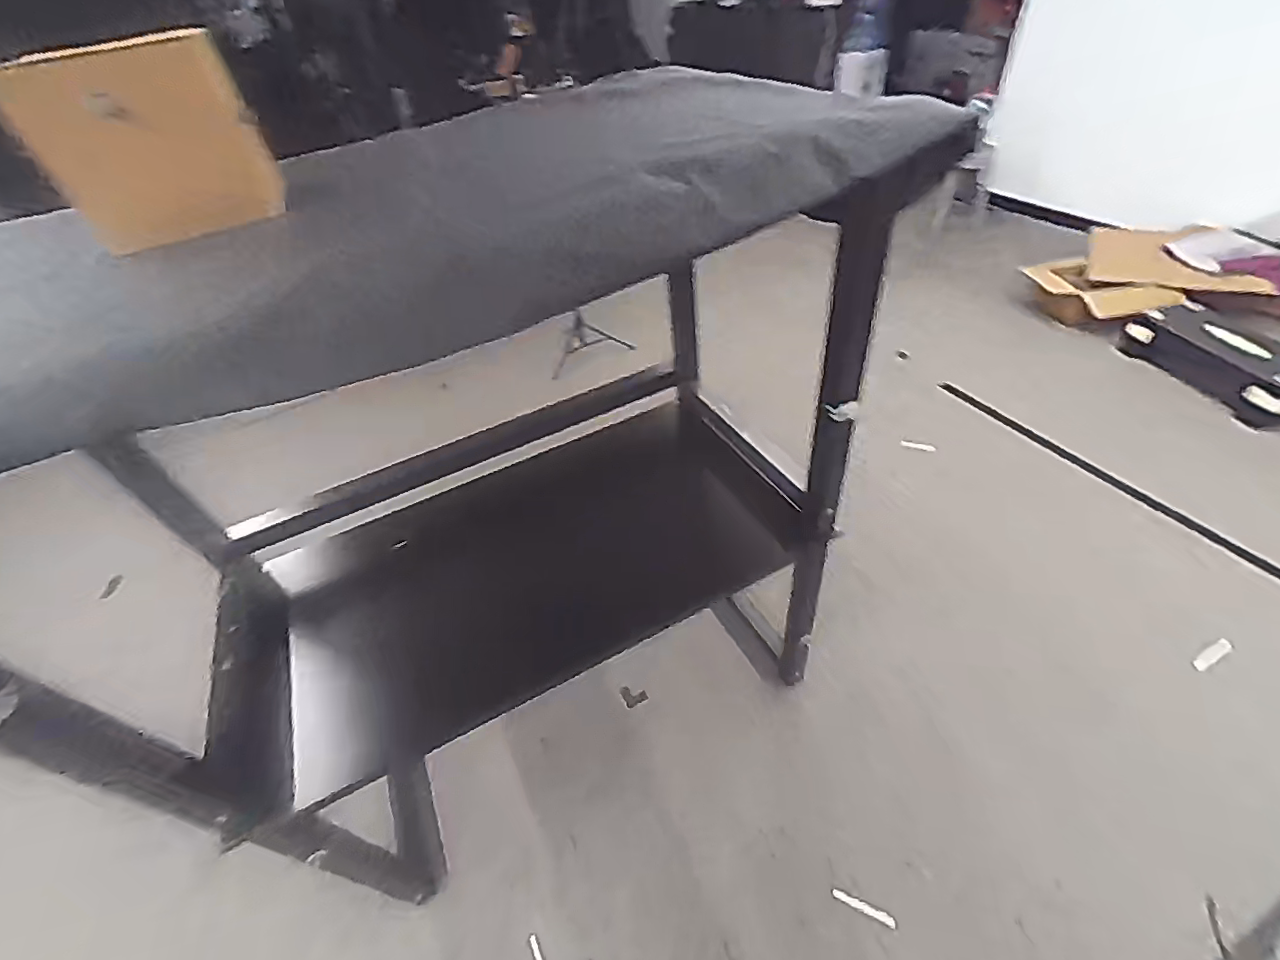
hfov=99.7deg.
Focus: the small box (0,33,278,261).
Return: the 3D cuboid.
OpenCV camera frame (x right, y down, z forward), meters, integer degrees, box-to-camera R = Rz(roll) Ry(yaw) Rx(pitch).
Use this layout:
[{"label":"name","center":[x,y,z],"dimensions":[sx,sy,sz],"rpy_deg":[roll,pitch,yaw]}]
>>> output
[{"label":"small box","center":[-0.538,-0.372,0.604],"dimensions":[0.179,0.176,0.168],"rpy_deg":[-24,46,-13]}]
